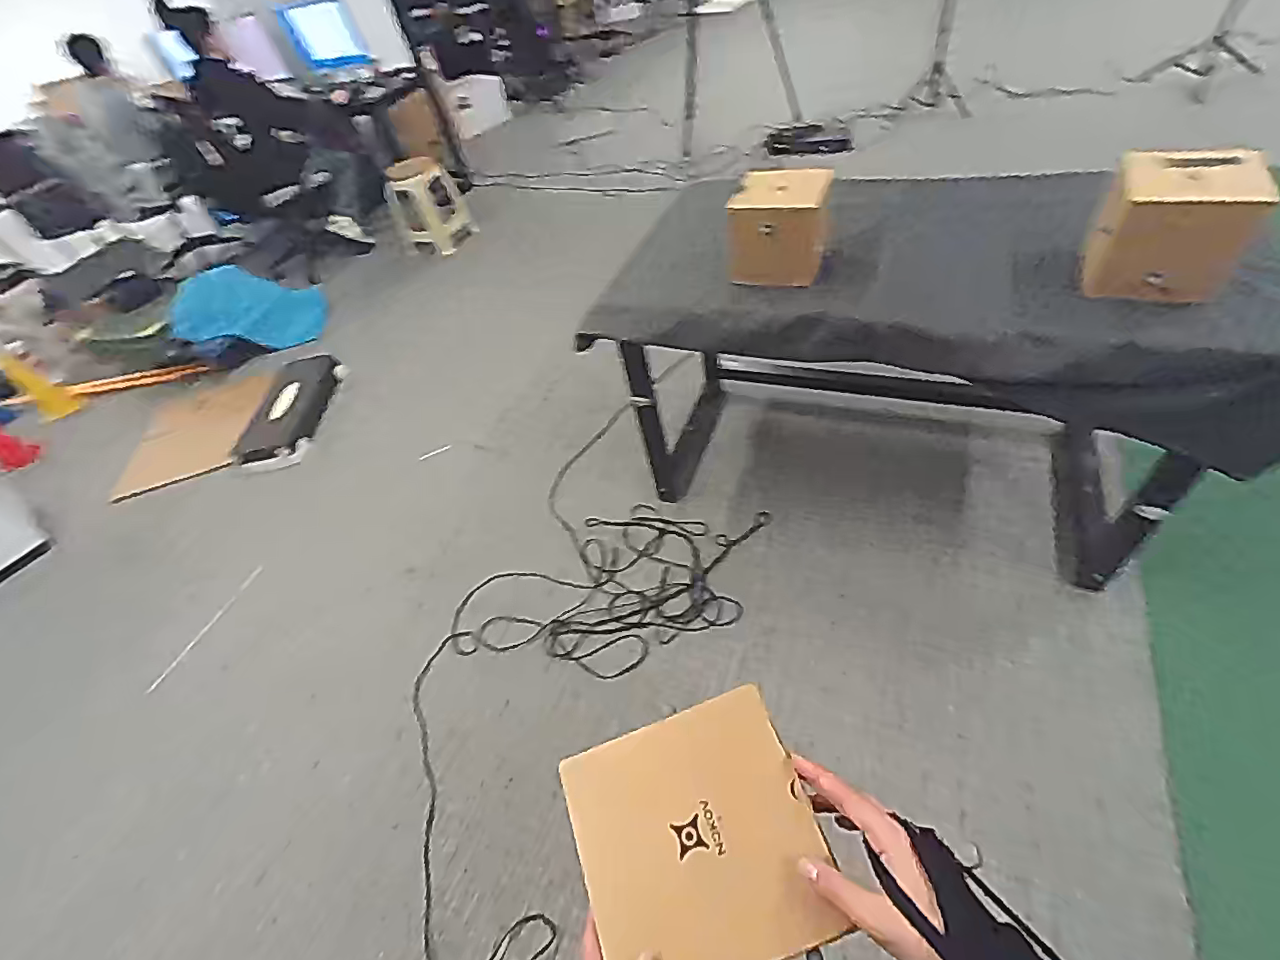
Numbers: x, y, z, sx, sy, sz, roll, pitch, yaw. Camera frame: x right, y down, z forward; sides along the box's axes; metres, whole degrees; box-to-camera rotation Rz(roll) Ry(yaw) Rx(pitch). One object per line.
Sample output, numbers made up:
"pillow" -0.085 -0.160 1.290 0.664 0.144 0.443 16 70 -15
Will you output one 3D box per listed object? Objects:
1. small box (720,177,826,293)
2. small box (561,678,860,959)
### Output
"small box" 0.279 -0.511 1.132 0.179 0.176 0.168 12 54 22
"small box" 0.054 0.294 0.454 0.179 0.176 0.168 -20 55 -2
